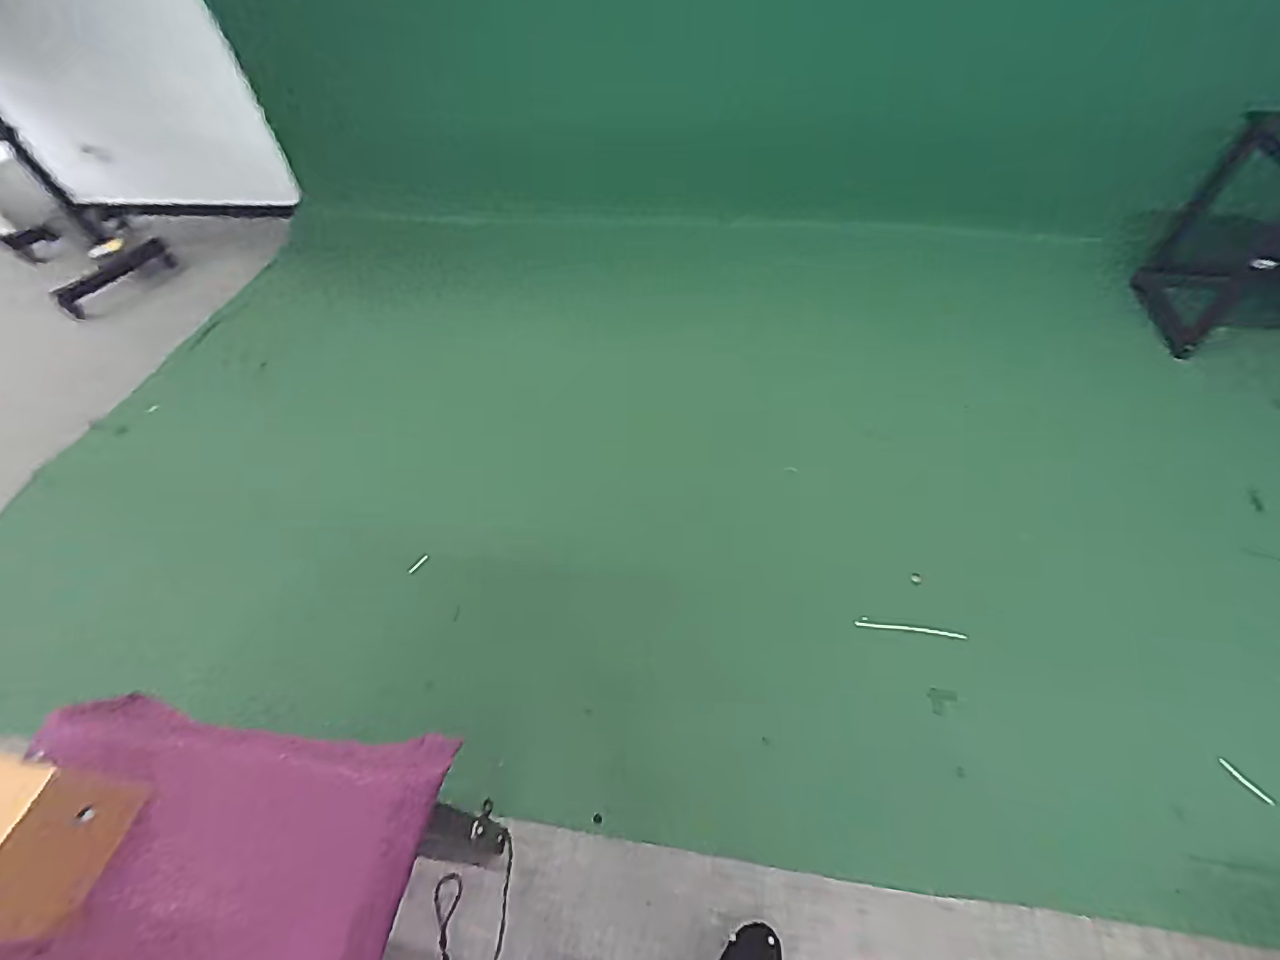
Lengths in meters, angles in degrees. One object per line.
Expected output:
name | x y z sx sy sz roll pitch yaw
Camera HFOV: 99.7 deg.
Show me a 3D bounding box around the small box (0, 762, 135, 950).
small box | -0.821 0.476 0.695 0.168 0.176 0.179 7 53 7
